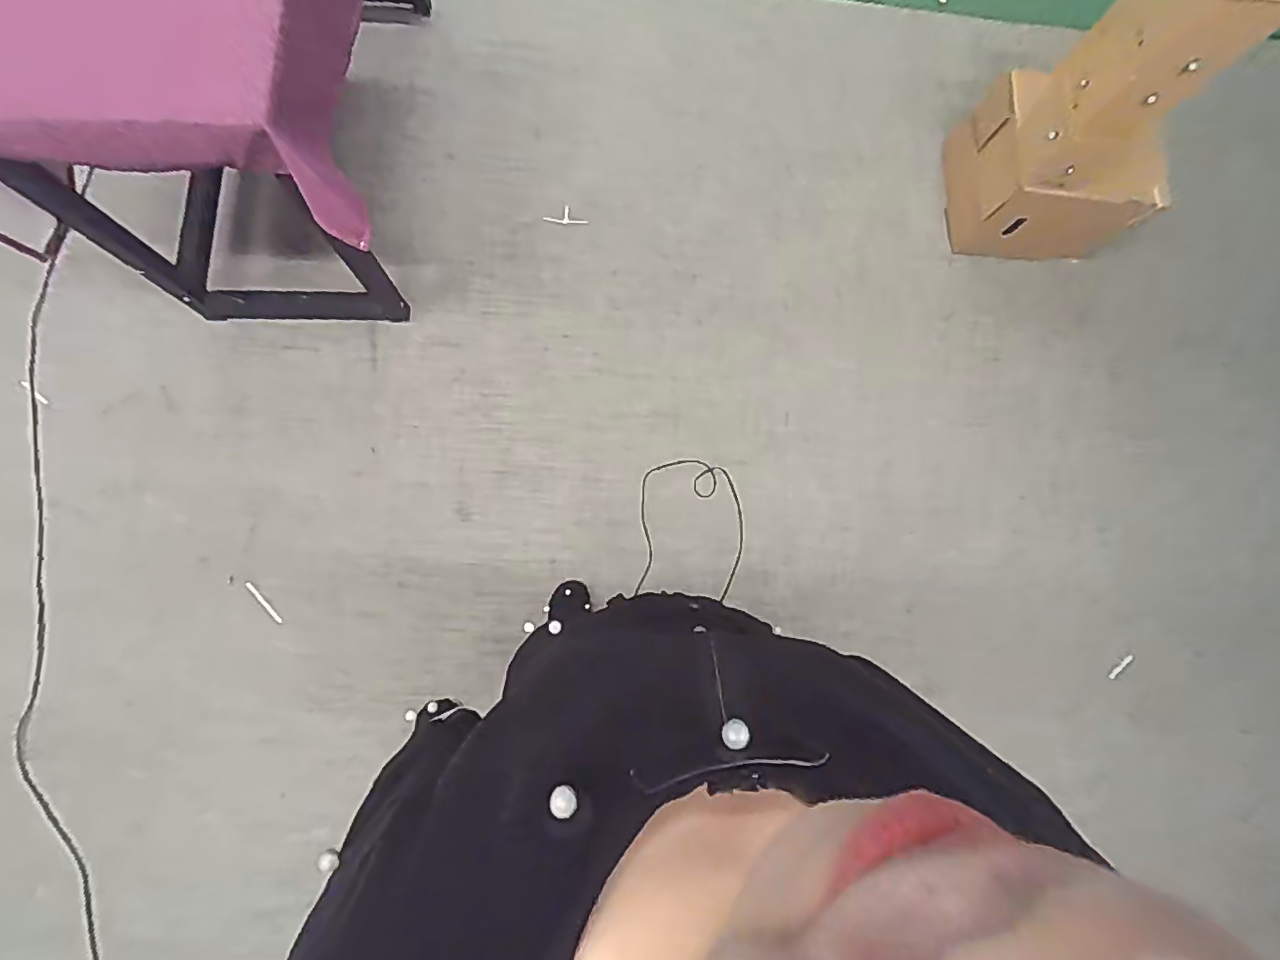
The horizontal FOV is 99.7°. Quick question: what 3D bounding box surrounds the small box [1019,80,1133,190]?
[{"bbox_3d":[1.140,-0.900,1.426,0.168,0.176,0.179,5,79,-5],"label":"small box"}]
